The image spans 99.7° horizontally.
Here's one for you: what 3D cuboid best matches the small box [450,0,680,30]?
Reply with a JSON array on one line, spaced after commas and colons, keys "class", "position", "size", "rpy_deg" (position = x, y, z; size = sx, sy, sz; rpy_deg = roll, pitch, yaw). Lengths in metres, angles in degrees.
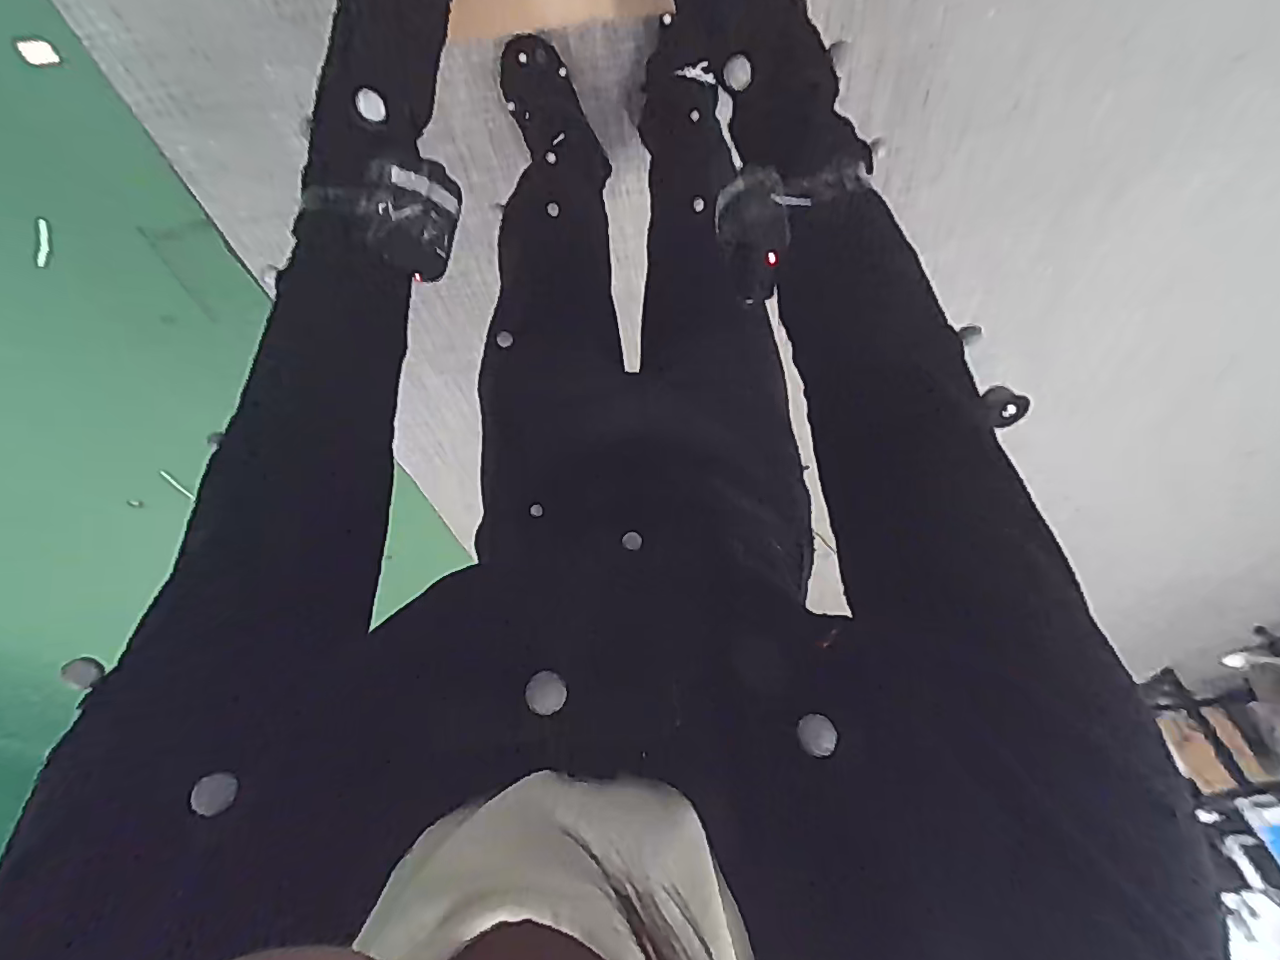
[{"class": "small box", "position": [-0.056, -0.446, 0.371], "size": [0.179, 0.176, 0.168], "rpy_deg": [-5, 142, 5]}]
